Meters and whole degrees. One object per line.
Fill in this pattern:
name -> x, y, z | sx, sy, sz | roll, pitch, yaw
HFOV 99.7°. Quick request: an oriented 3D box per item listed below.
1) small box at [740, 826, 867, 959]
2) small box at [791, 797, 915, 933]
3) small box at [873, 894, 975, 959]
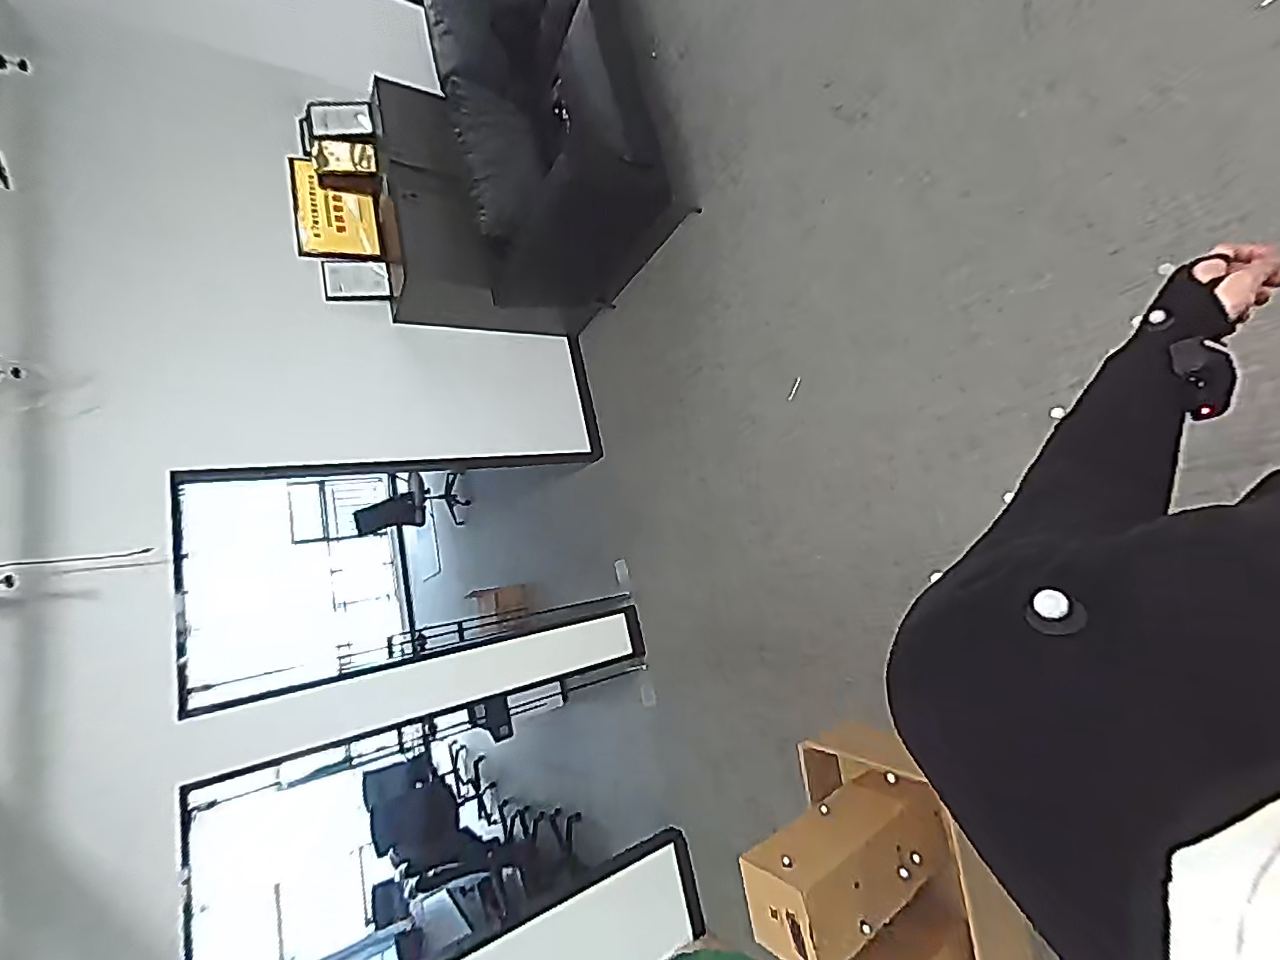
small box -> 0.337, 0.845, 1.100 | 0.179, 0.176, 0.168 | -21, 78, 55
small box -> 0.469, 0.833, 1.197 | 0.179, 0.176, 0.168 | -20, 78, 54
small box -> 0.650, 1.112, 1.255 | 0.179, 0.176, 0.168 | -17, 81, 56
